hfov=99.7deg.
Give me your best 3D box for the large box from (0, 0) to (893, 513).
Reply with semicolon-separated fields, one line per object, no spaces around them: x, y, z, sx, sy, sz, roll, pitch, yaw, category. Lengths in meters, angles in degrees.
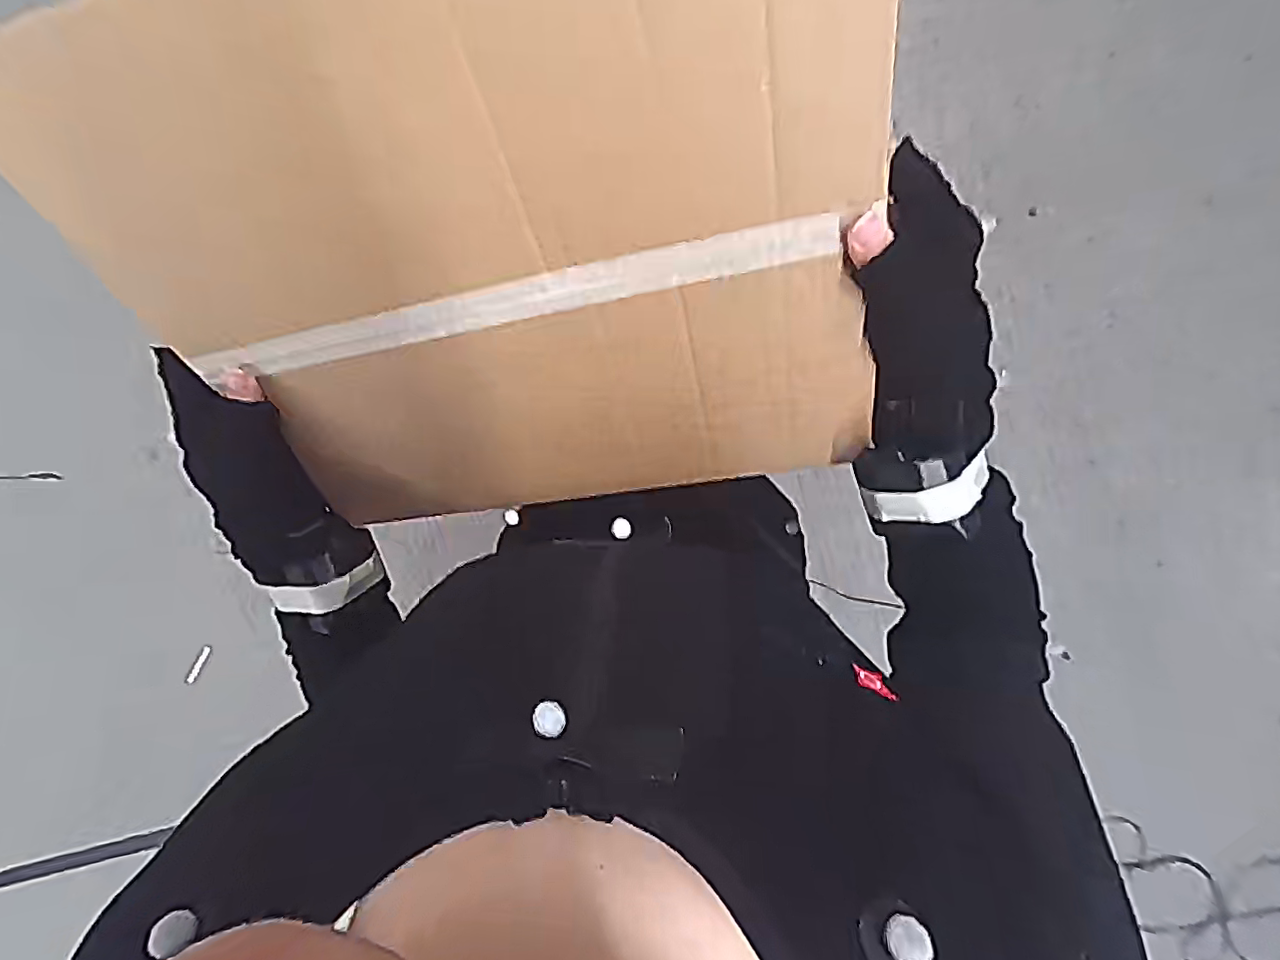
-0.066;-0.209;0.412;0.408;0.320;0.320;-8;136;12;large box
